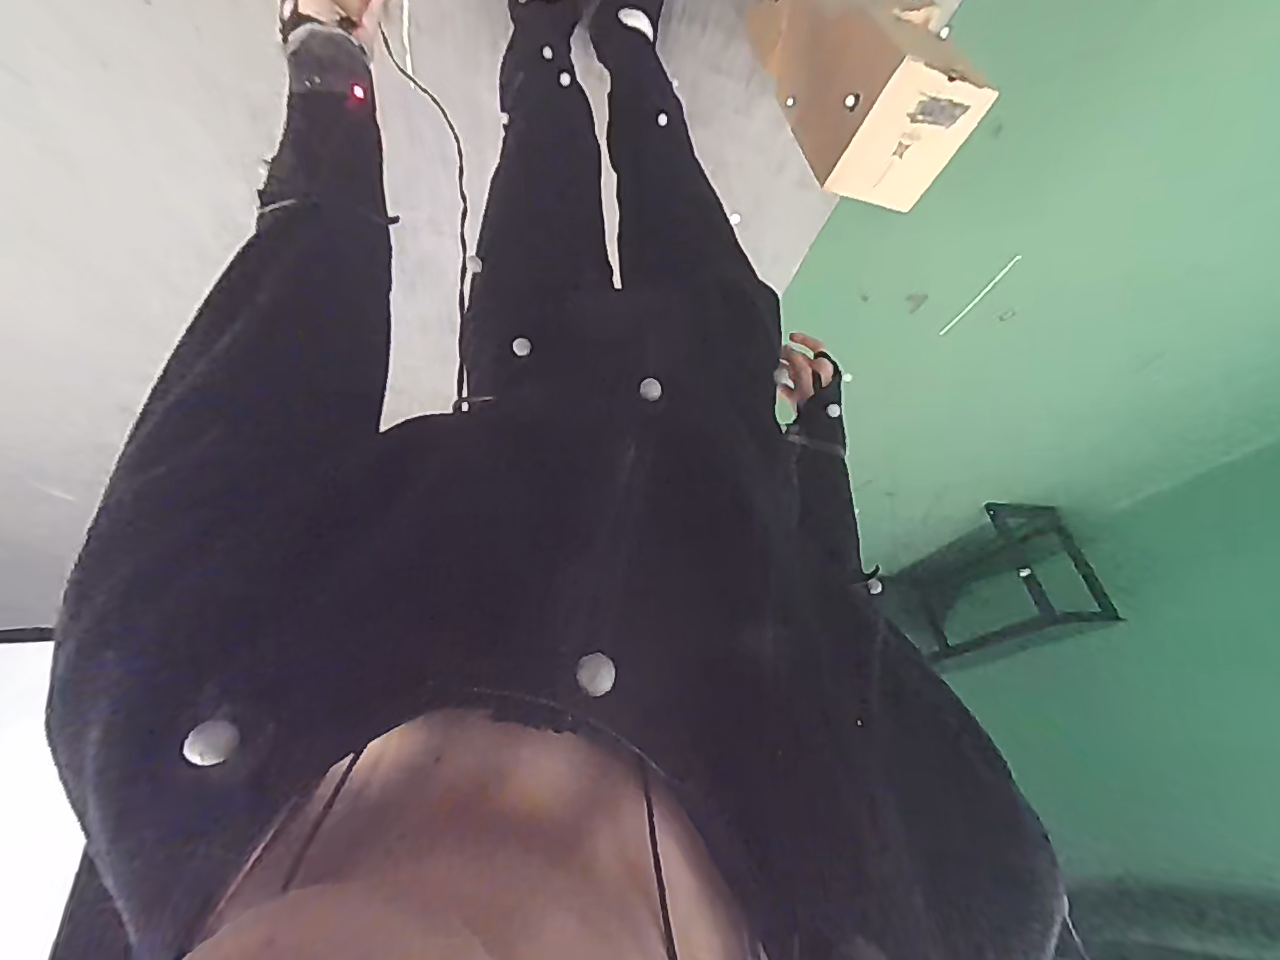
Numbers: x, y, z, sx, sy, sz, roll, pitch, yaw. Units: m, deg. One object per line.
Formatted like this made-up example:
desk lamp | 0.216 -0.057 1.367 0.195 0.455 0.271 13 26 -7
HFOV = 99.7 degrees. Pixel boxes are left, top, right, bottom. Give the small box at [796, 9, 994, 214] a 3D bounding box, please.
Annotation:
small box | 0.355 -0.534 0.791 0.168 0.176 0.179 3 149 -20

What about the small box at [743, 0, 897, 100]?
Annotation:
small box | 0.308 -0.810 0.963 0.179 0.176 0.168 9 145 -26
